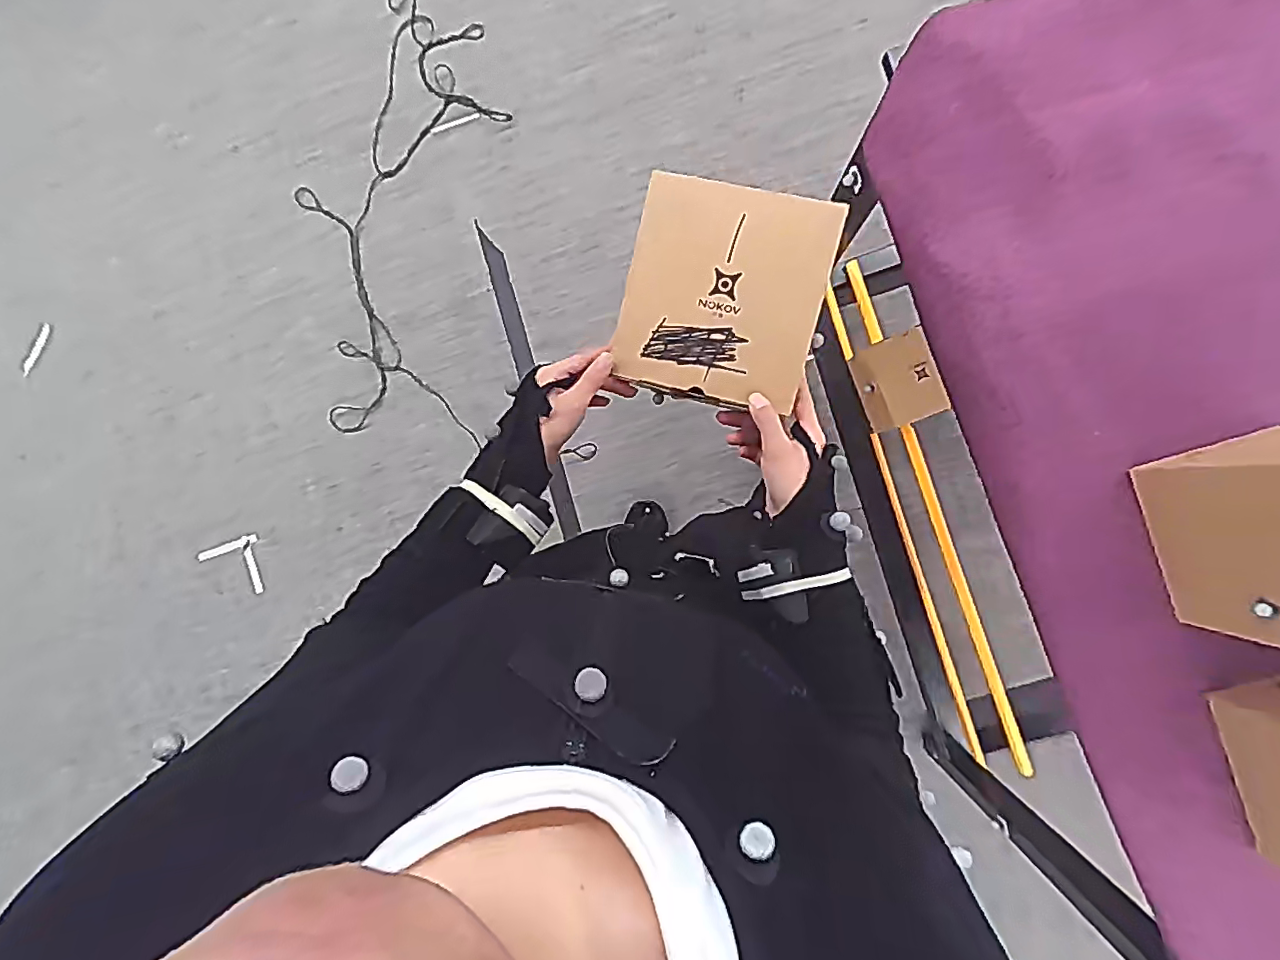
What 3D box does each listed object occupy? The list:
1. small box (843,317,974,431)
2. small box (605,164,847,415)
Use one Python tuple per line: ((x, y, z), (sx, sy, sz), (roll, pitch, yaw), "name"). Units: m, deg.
((0.552, -0.210, 1.136), (0.168, 0.176, 0.179), (-22, 87, 5), "small box")
((0.080, -0.165, 0.525), (0.168, 0.176, 0.179), (15, 97, 7), "small box")
